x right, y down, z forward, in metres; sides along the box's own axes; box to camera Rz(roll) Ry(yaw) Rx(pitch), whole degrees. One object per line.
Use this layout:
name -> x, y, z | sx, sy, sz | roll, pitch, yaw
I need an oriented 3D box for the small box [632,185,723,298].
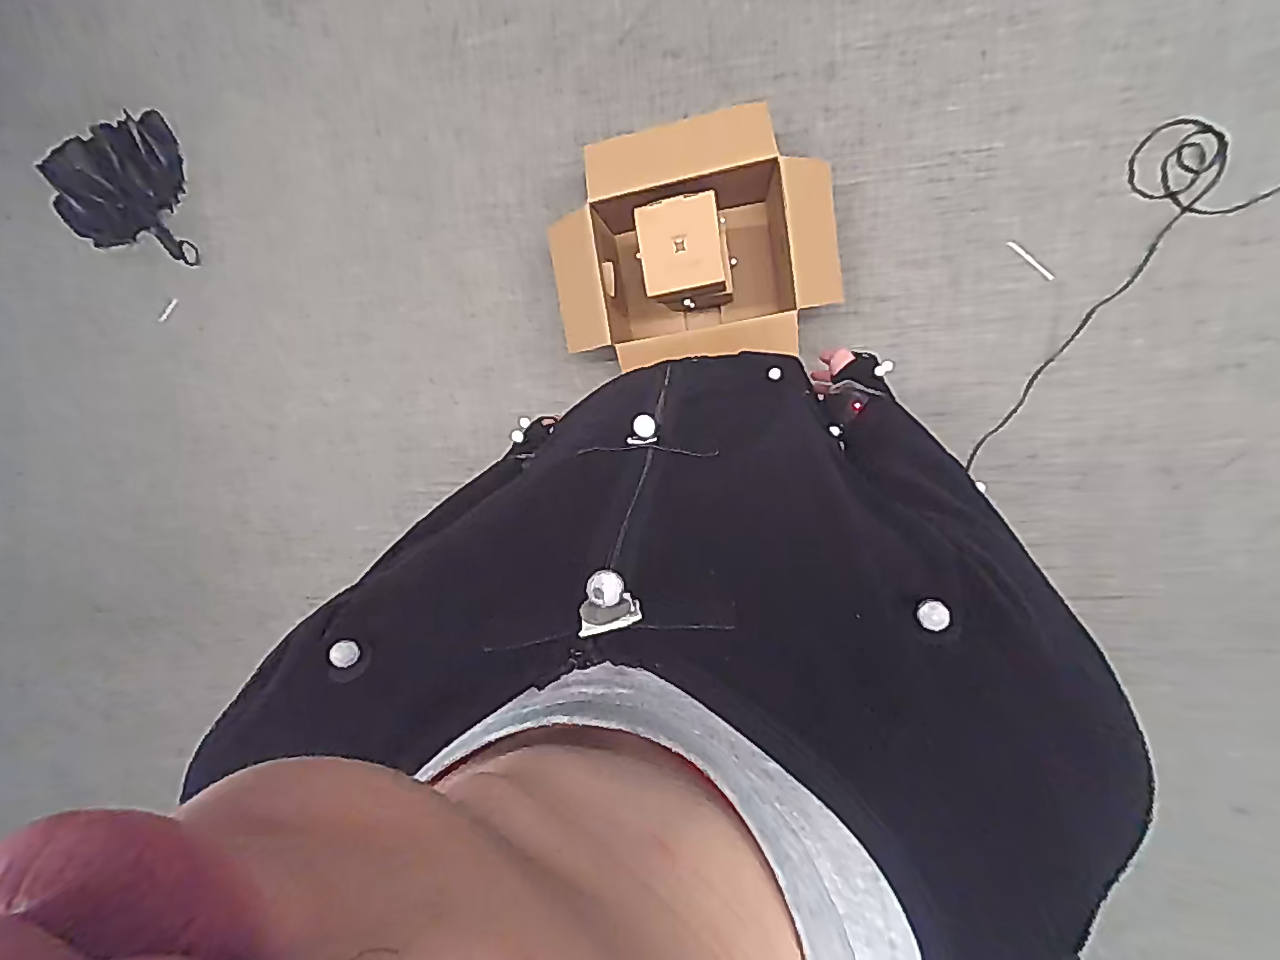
small box -> 0.087, -0.504, 1.168 | 0.168, 0.176, 0.179 | -7, 102, 12
